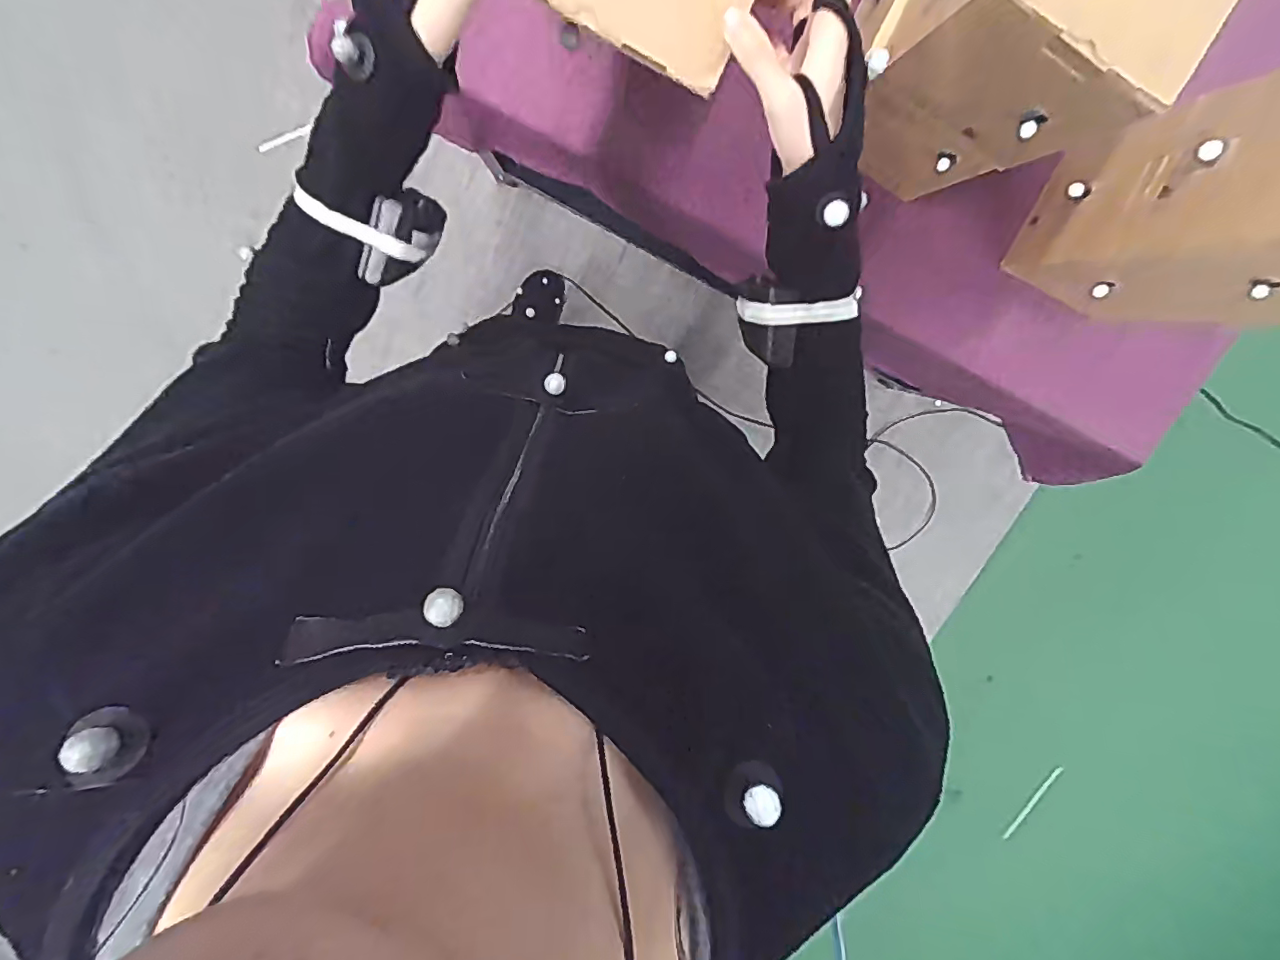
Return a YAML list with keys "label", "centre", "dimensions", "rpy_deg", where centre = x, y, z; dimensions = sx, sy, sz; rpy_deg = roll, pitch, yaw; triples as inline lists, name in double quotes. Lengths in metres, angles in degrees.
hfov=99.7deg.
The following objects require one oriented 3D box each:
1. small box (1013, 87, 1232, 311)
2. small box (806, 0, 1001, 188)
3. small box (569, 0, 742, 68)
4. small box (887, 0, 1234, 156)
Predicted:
- label: "small box"
  centre: [0.601, -0.307, 0.640]
  dimensions: [0.179, 0.176, 0.168]
  rpy_deg: [21, 104, -10]
- label: "small box"
  centre: [0.311, -0.444, 0.578]
  dimensions: [0.179, 0.176, 0.168]
  rpy_deg: [24, 103, -12]
- label: "small box"
  centre: [-0.002, -0.380, 0.309]
  dimensions: [0.168, 0.176, 0.179]
  rpy_deg: [17, 125, -21]
- label: "small box"
  centre: [0.330, -0.395, 0.425]
  dimensions: [0.168, 0.176, 0.179]
  rpy_deg: [23, 103, -12]
